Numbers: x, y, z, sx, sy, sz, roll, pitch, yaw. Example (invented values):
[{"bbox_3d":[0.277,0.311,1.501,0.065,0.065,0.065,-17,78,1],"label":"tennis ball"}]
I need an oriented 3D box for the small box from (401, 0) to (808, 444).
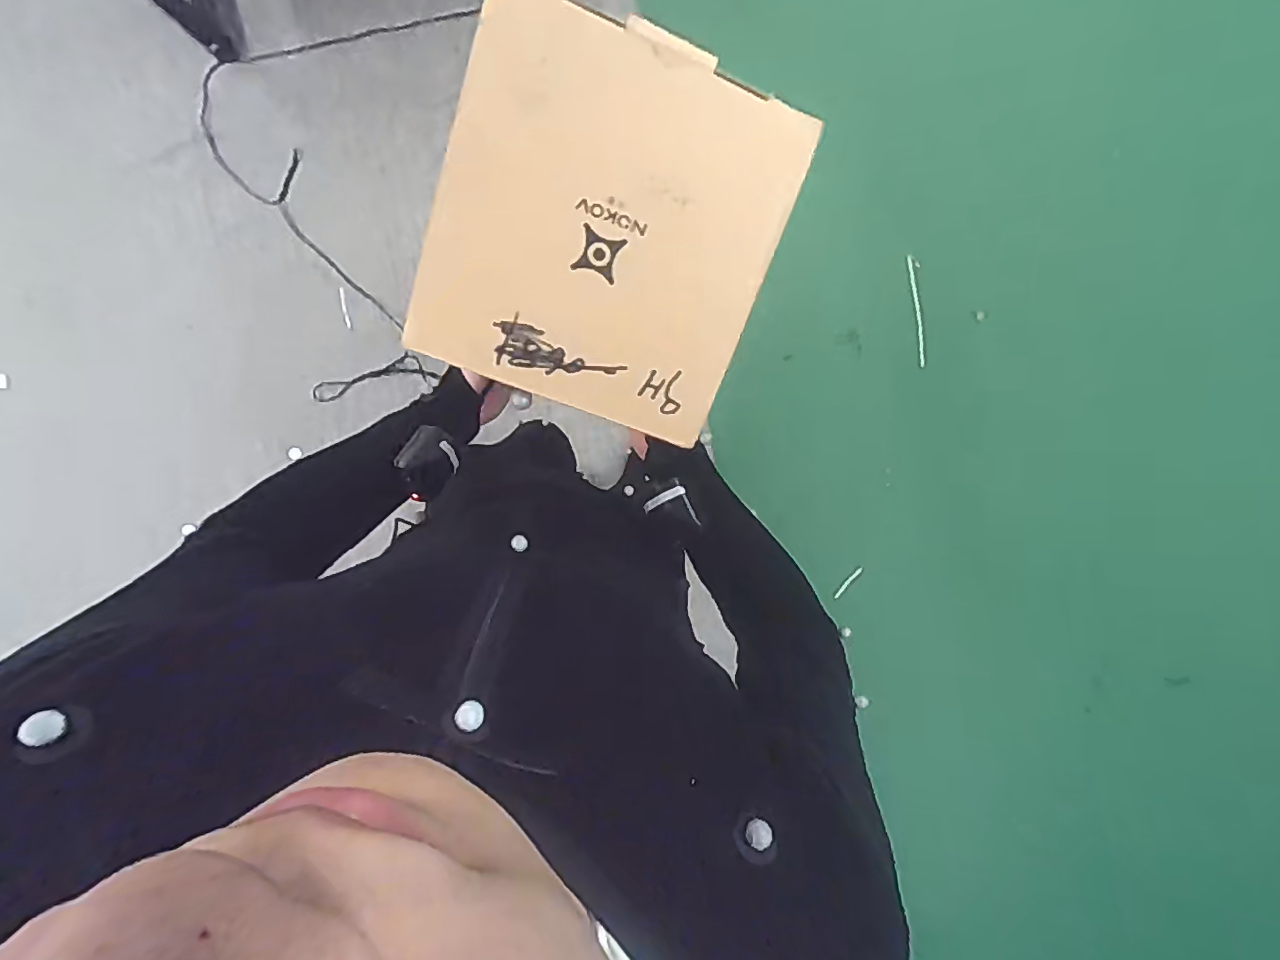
[{"bbox_3d":[-0.027,-0.146,0.351,0.168,0.176,0.179,19,104,-10],"label":"small box"}]
